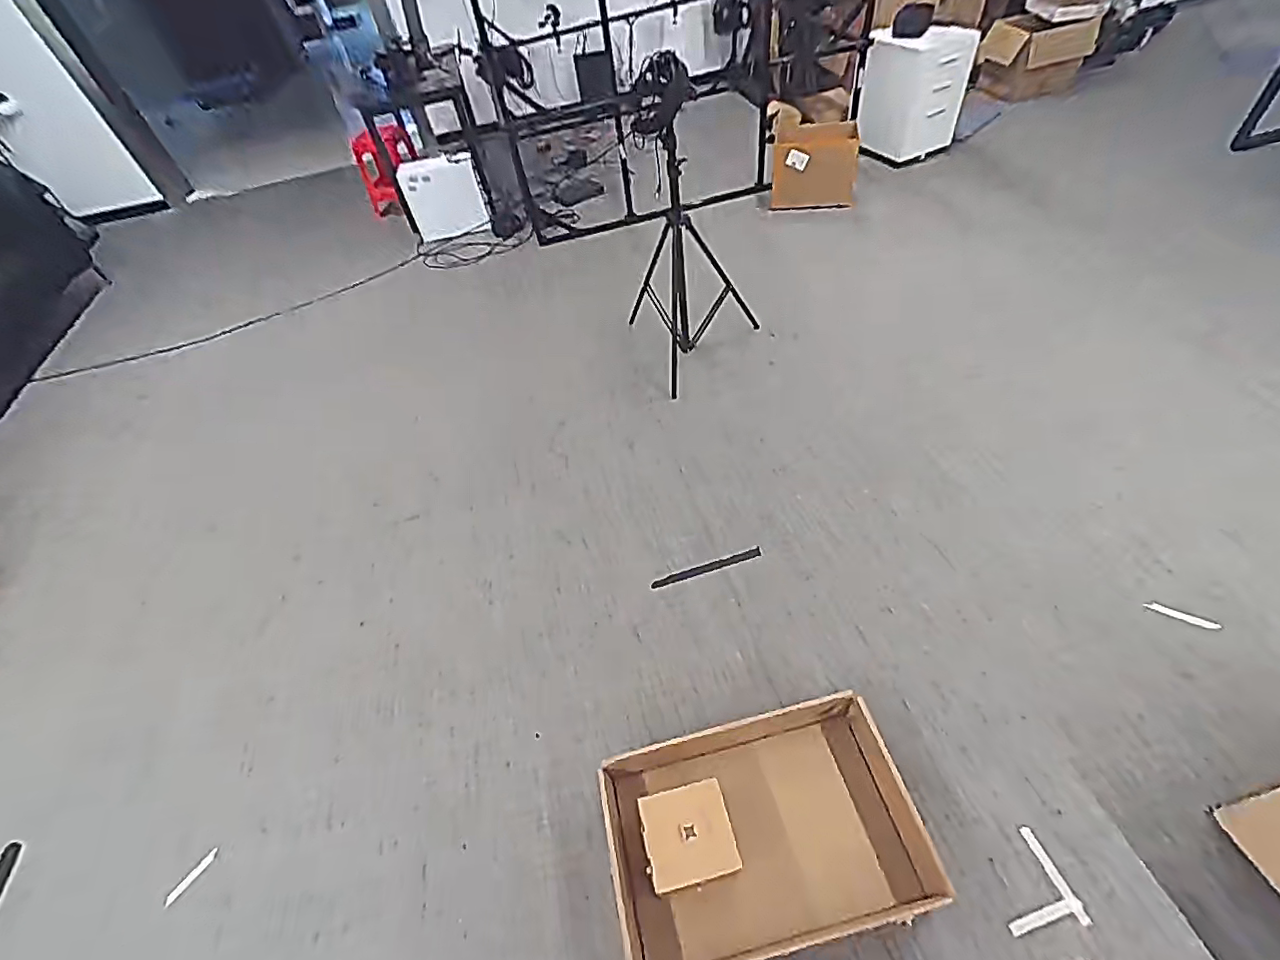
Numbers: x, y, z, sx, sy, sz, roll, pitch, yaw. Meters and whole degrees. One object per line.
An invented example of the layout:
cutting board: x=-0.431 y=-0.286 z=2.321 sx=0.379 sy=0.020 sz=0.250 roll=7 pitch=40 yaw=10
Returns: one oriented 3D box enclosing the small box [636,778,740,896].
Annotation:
small box: x=0.101 y=0.758 z=1.142 sx=0.179 sy=0.176 sz=0.168 roll=-14 pitch=51 yaw=-5
